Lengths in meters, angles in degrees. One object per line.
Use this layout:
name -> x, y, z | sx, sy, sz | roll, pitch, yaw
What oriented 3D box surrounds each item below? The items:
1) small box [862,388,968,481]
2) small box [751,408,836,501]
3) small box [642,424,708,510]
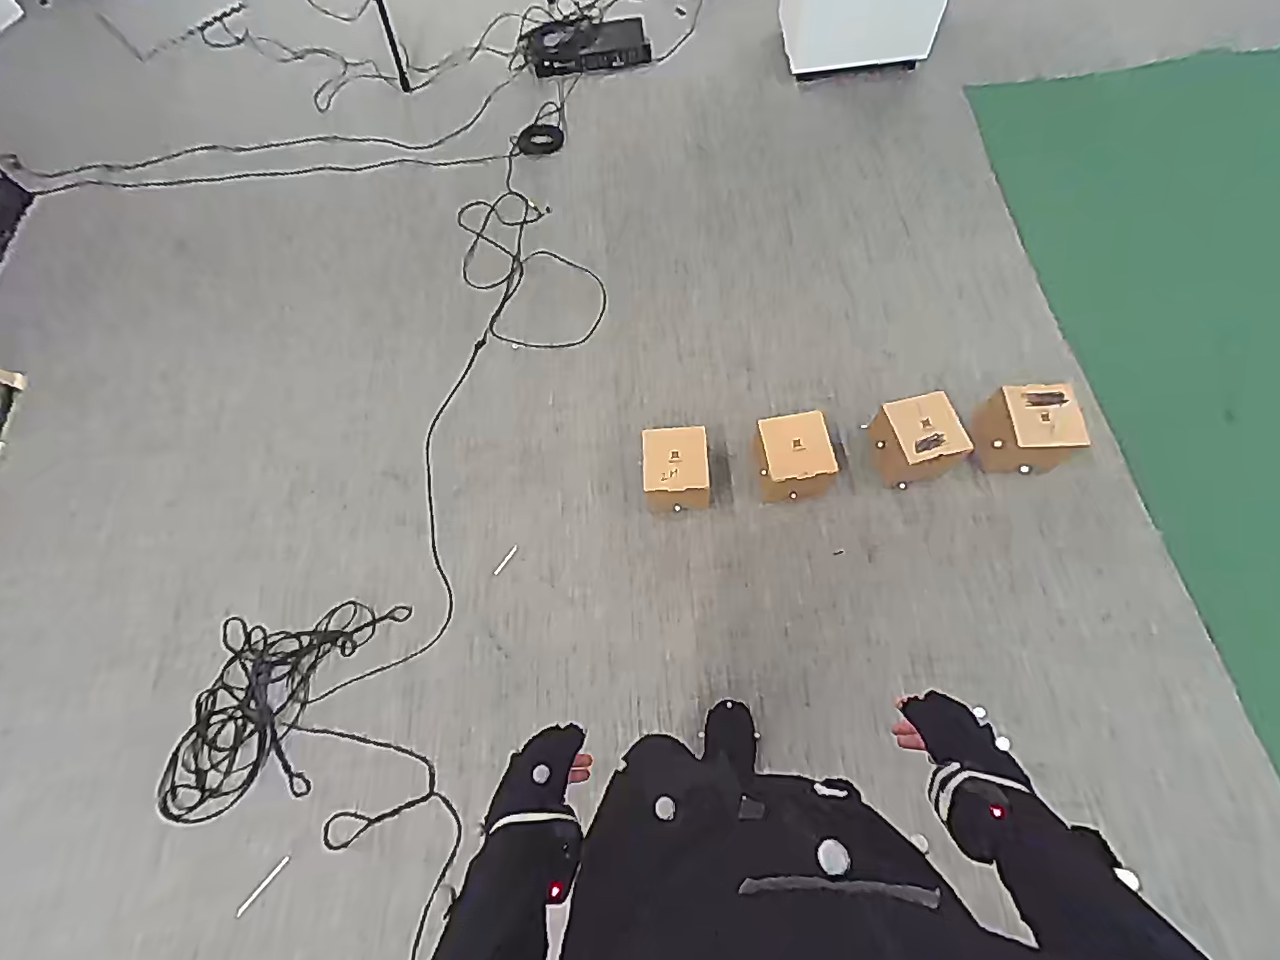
small box -> 0.709, -0.109, 1.415 | 0.168, 0.176, 0.179 | -13, 66, -1
small box -> 0.395, -0.064, 1.426 | 0.168, 0.176, 0.179 | -10, 68, 2
small box -> 0.092, -0.031, 1.441 | 0.168, 0.176, 0.179 | -3, 67, 5
